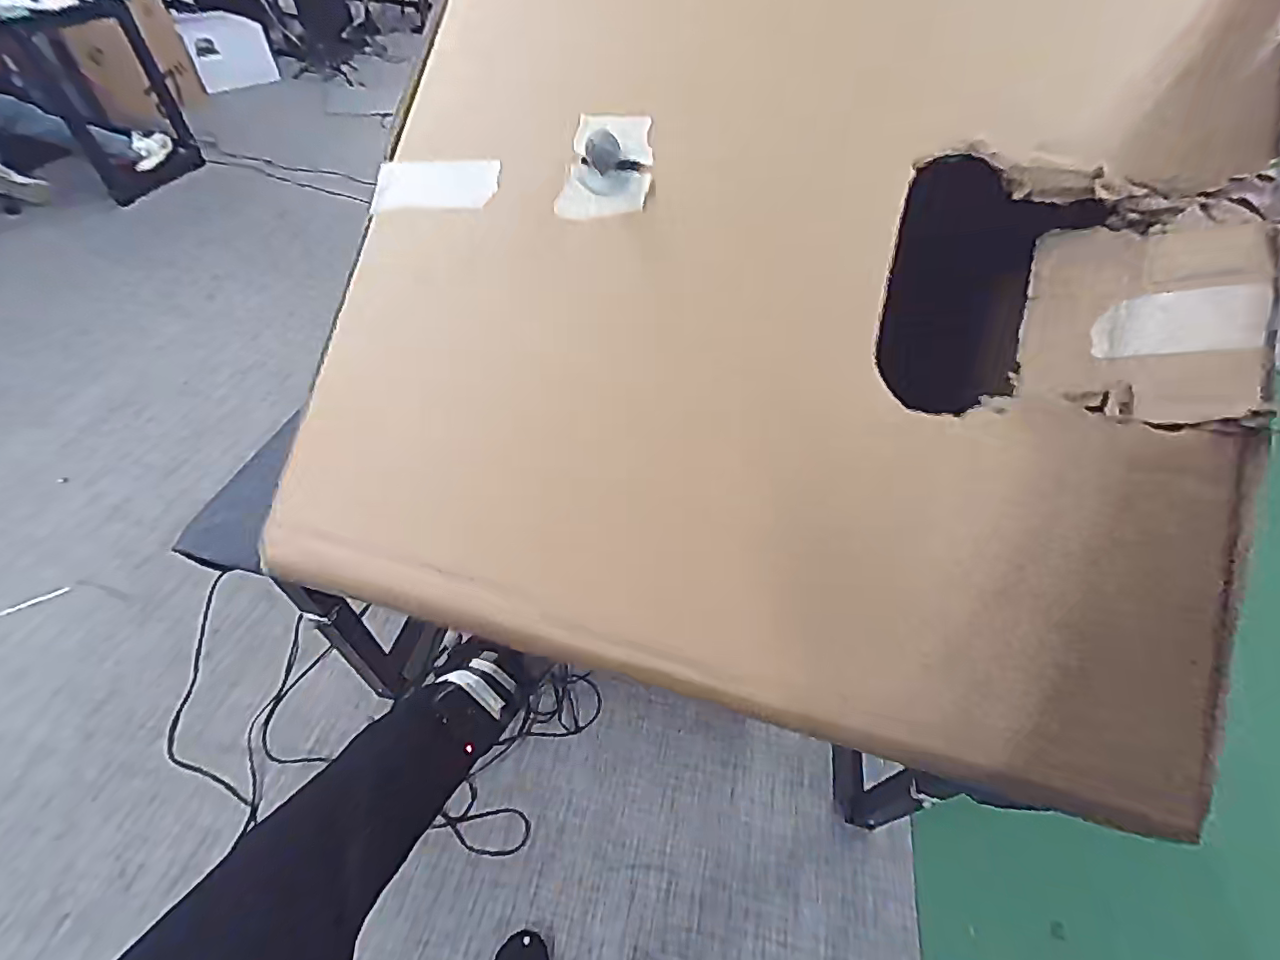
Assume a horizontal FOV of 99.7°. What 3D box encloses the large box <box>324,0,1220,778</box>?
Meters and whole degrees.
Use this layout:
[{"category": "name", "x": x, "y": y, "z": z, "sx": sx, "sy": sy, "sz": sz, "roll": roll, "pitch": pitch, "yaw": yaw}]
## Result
[{"category": "large box", "x": 0.066, "y": -0.053, "z": 0.399, "sx": 0.320, "sy": 0.408, "sz": 0.320, "roll": 12, "pitch": 83, "yaw": 8}]
